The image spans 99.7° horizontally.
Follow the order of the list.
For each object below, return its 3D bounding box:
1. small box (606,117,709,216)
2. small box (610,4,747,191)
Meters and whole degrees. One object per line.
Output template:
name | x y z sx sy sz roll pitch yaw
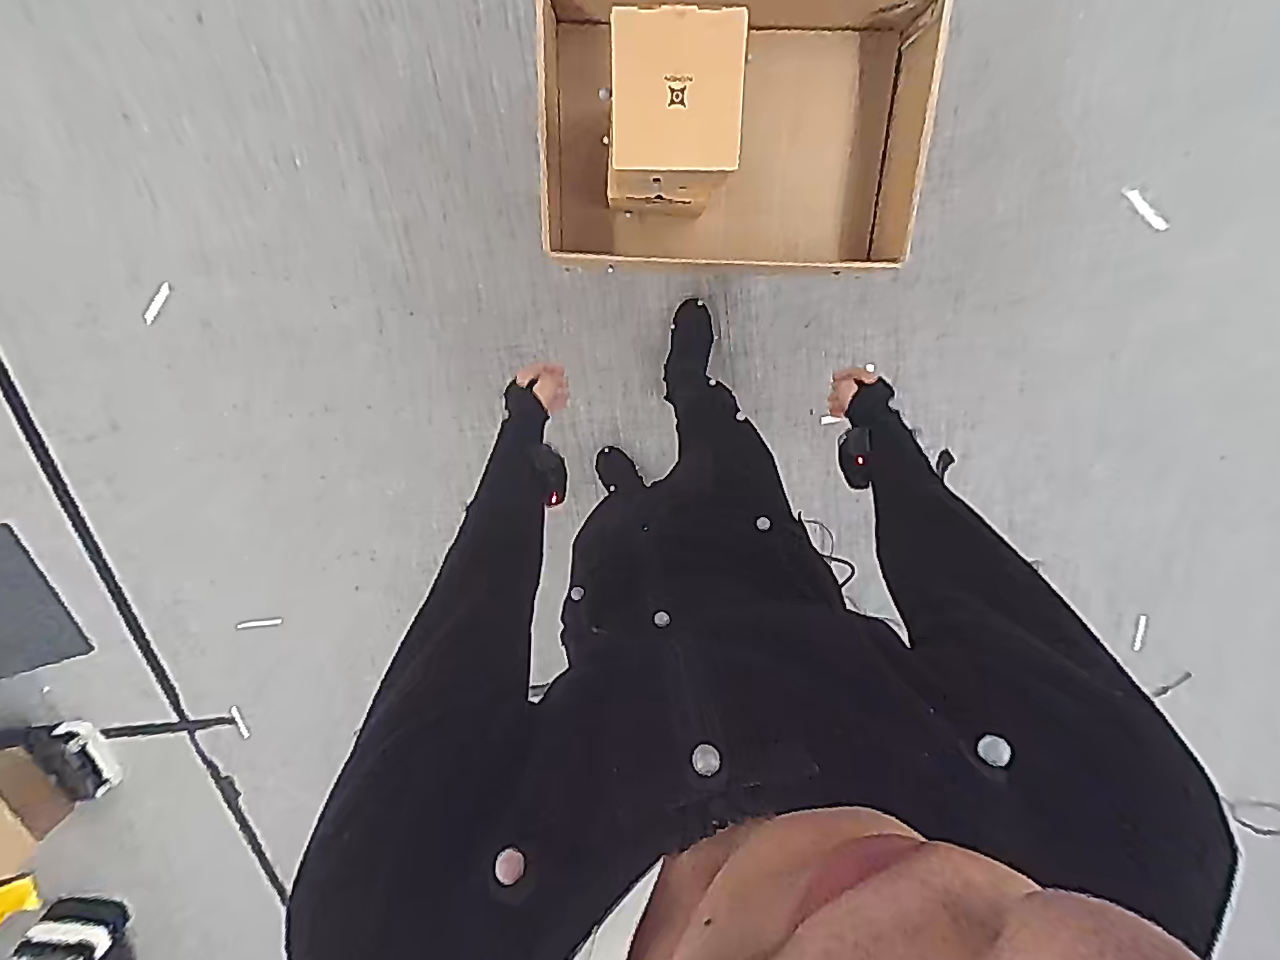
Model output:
small box | 0.035 -0.551 0.905 0.168 0.176 0.179 4 108 -2
small box | 0.046 -0.509 0.747 0.168 0.176 0.179 0 108 -1
